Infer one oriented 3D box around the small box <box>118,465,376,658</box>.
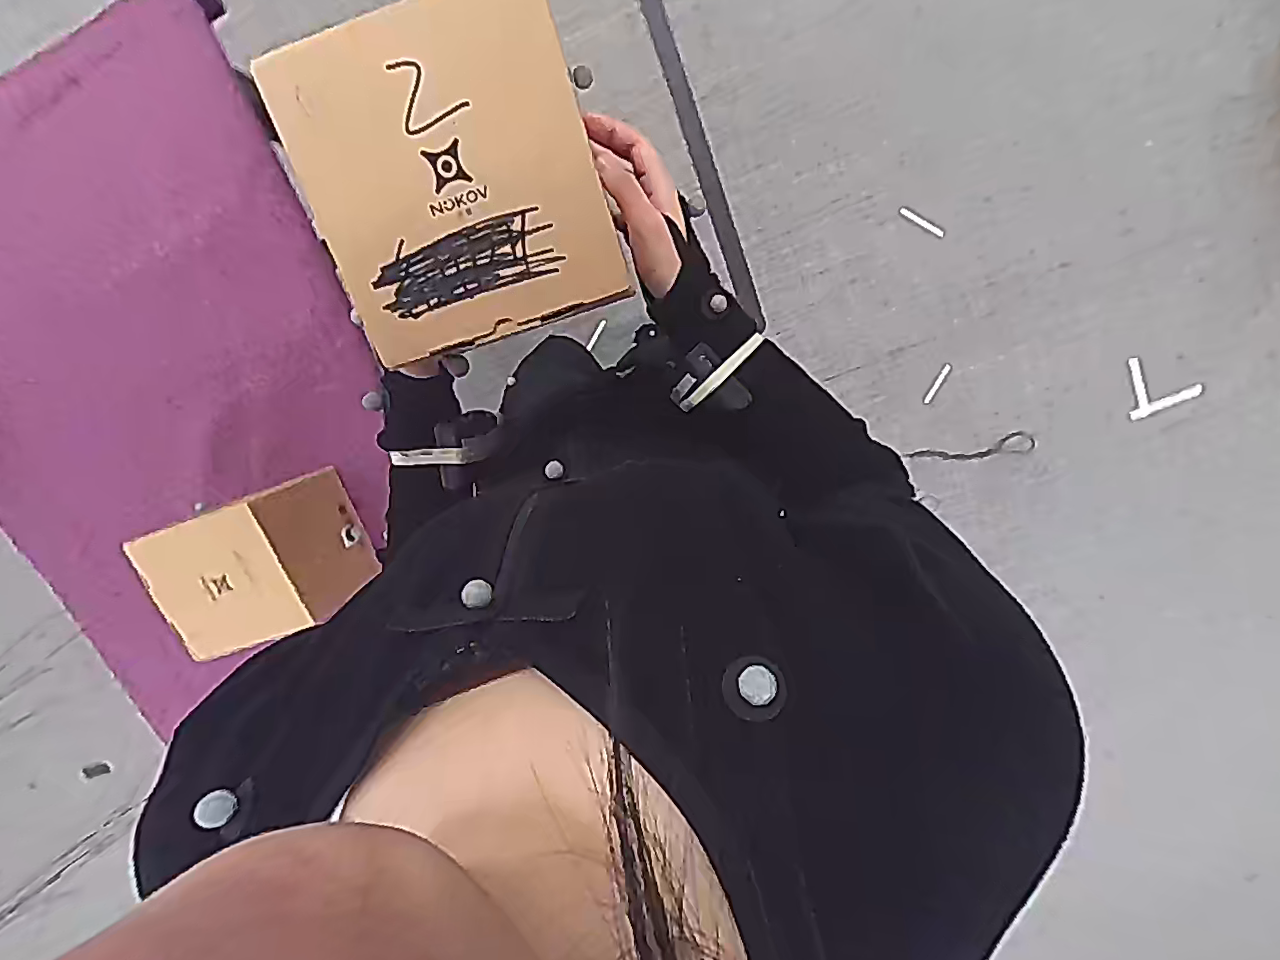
[{"bbox_3d":[-0.489,0.097,0.705,0.179,0.176,0.168,-19,105,7],"label":"small box"}]
